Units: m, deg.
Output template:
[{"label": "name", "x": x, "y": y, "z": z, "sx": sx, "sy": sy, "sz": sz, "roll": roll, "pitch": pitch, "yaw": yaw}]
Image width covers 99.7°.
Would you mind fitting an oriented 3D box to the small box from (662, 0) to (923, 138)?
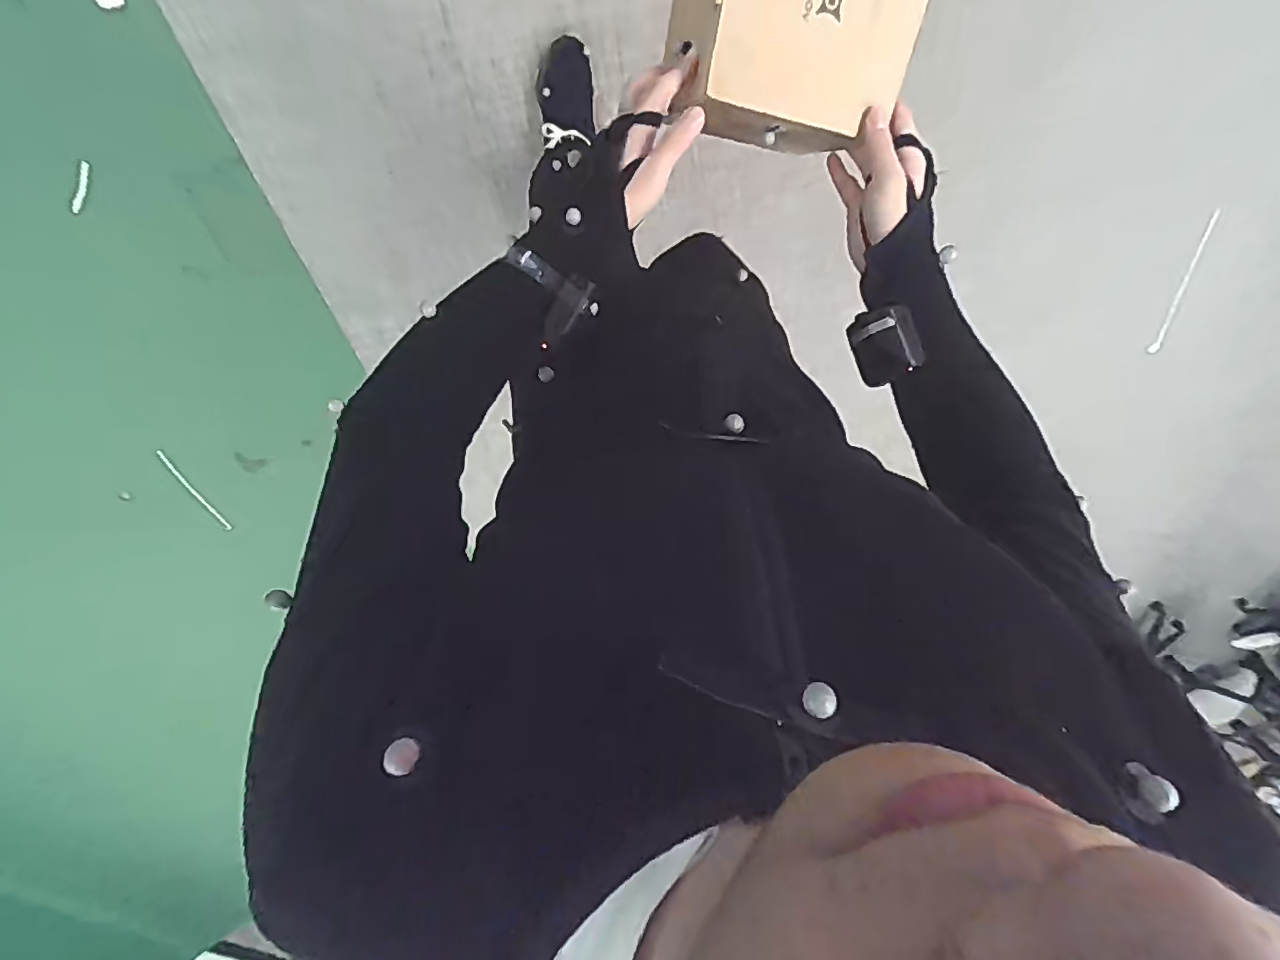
[{"label": "small box", "x": 0.130, "y": -0.426, "z": 0.491, "sx": 0.179, "sy": 0.176, "sz": 0.168, "roll": 4, "pitch": 117, "yaw": -16}]
